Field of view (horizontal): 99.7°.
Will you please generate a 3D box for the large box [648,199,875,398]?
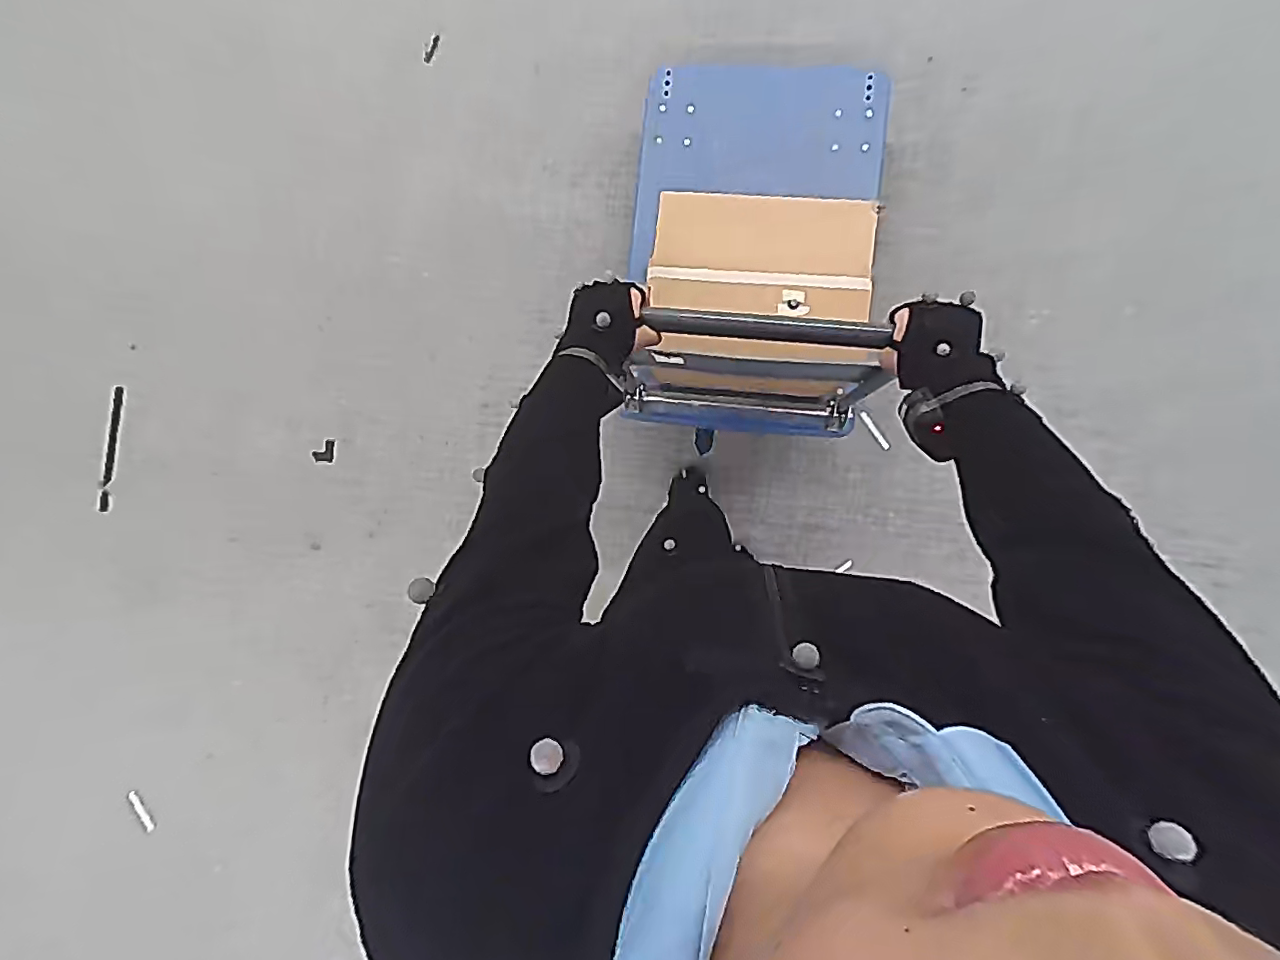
[{"bbox_3d":[0.234,-0.365,1.159,0.408,0.320,0.320,6,91,5],"label":"large box"}]
